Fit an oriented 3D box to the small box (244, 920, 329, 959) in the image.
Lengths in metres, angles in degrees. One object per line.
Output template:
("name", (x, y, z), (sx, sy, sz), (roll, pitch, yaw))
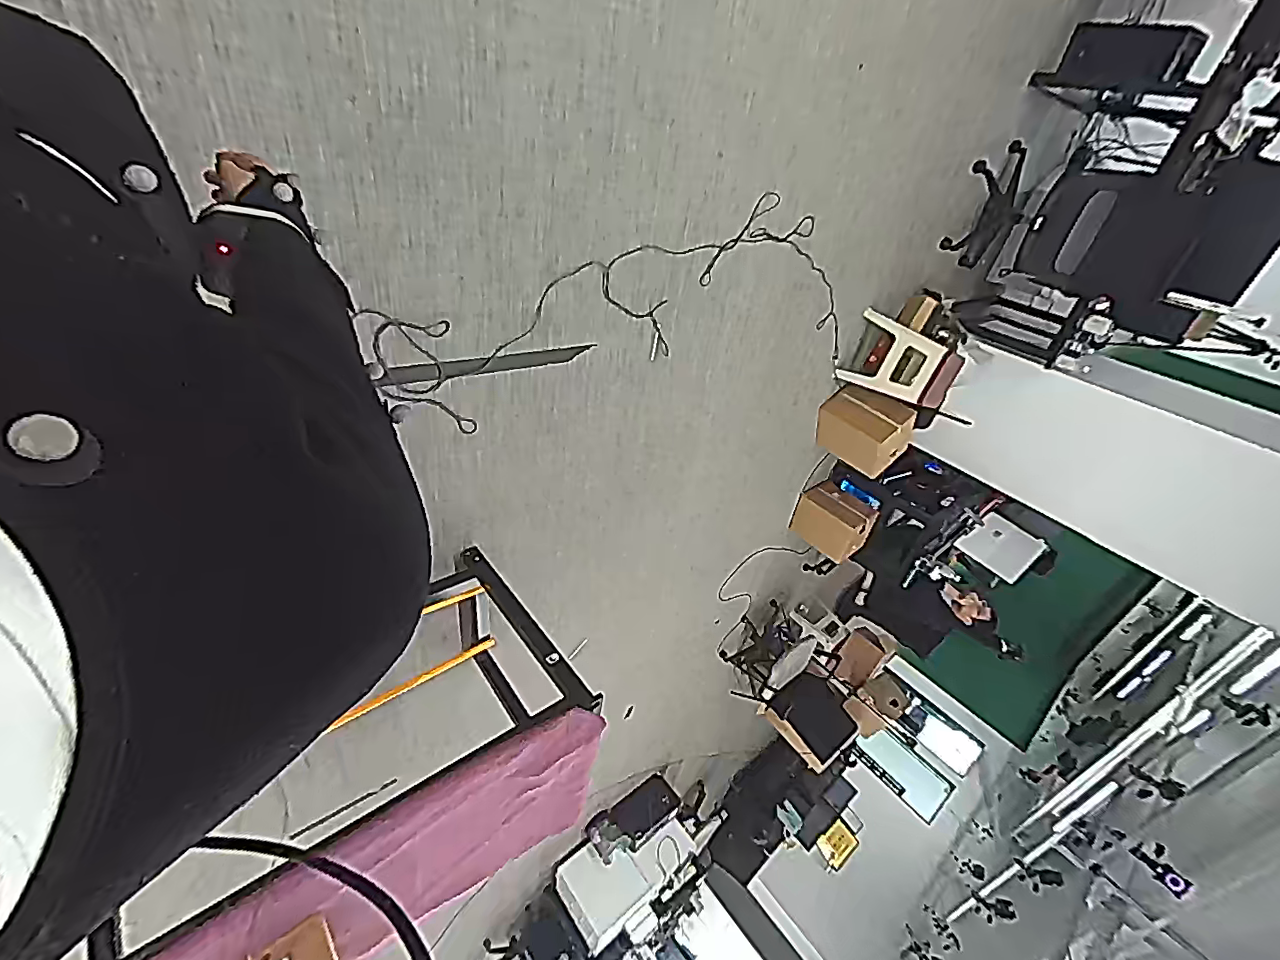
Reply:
("small box", (-0.706, 1.038, 1.077), (0.168, 0.176, 0.179), (-18, 133, -39))
